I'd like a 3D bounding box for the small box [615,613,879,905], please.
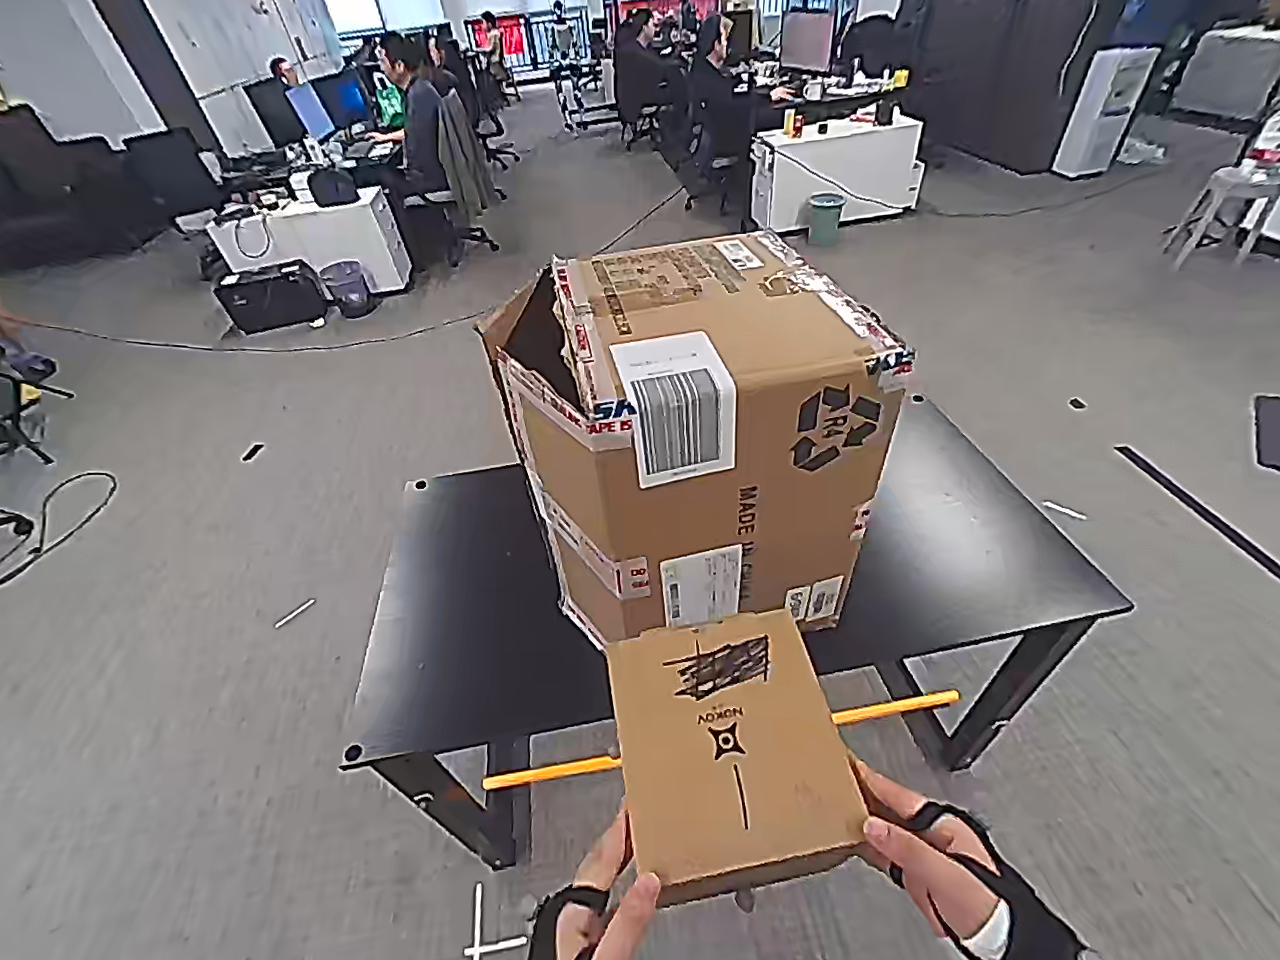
[{"bbox_3d":[0.076,0.246,0.476,0.168,0.176,0.179,-10,49,-3],"label":"small box"}]
